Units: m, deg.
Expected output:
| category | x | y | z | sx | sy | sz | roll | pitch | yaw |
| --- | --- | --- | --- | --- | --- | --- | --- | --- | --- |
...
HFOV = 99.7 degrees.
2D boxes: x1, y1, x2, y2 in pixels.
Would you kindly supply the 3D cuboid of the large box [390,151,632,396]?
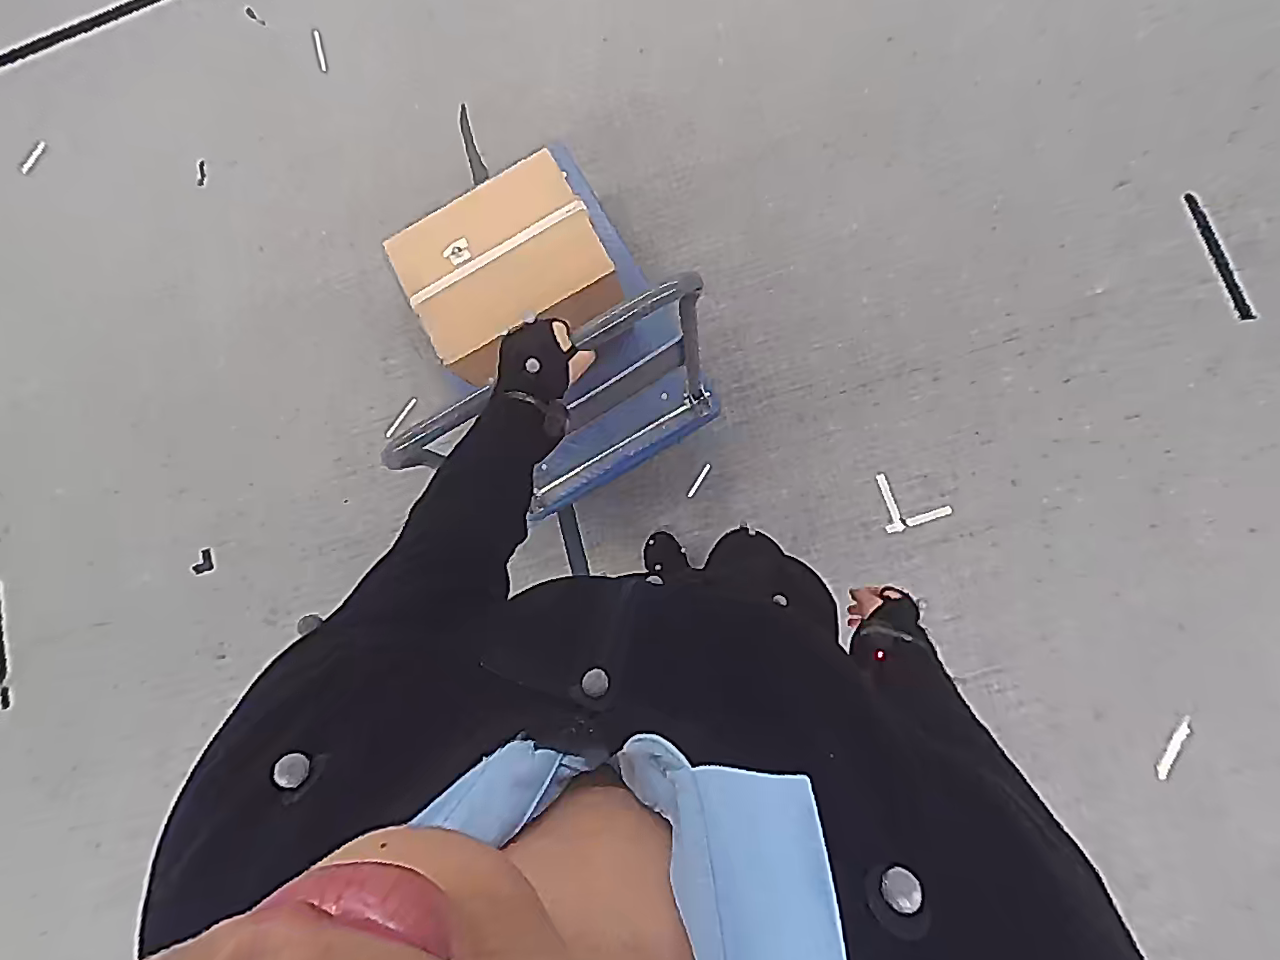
| category | x | y | z | sx | sy | sz | roll | pitch | yaw |
| --- | --- | --- | --- | --- | --- | --- | --- | --- | --- |
| large box | -0.277 | -0.453 | 1.272 | 0.408 | 0.320 | 0.320 | -29 | 82 | 4 |
